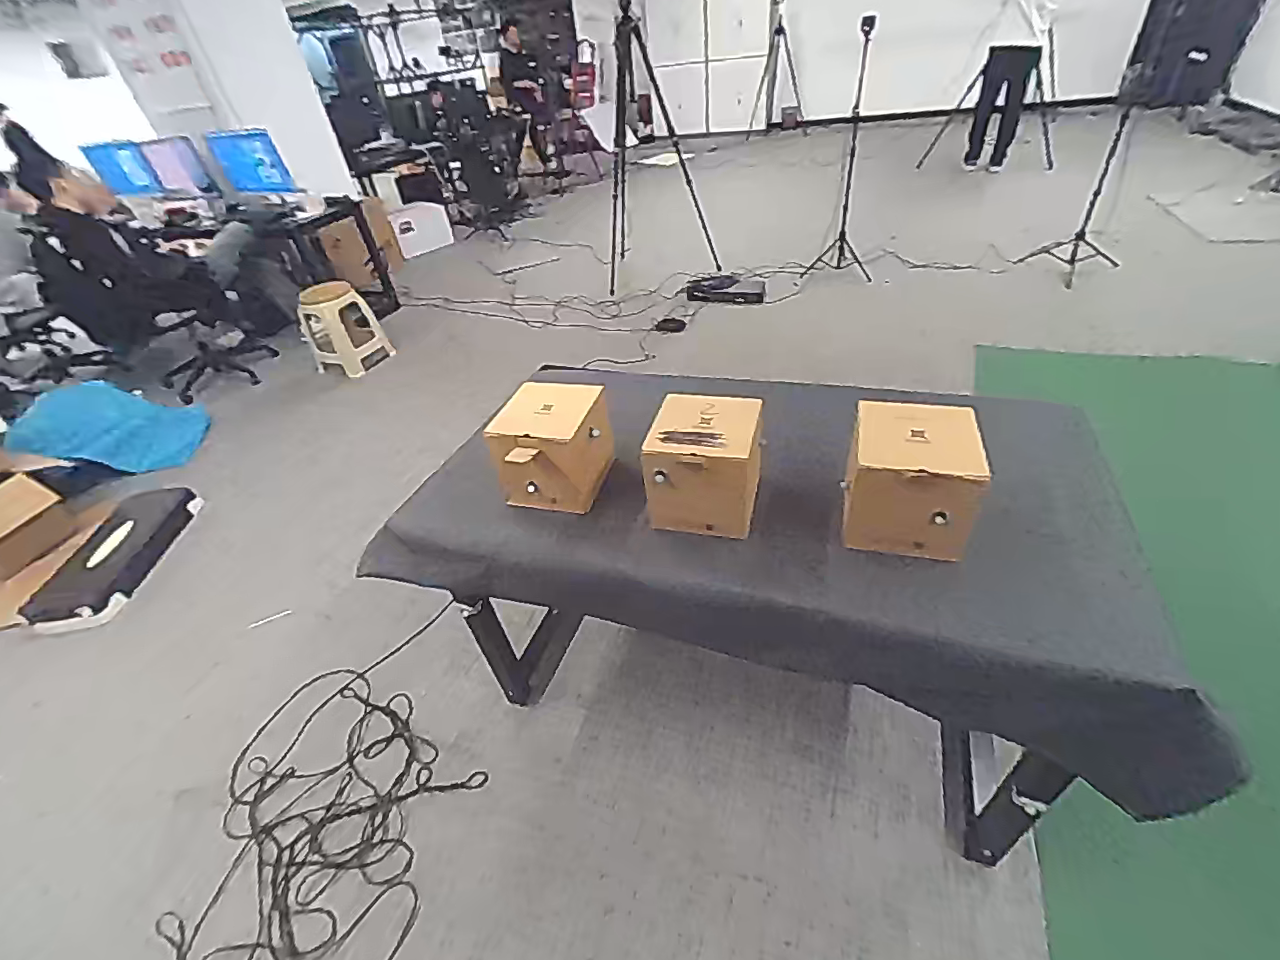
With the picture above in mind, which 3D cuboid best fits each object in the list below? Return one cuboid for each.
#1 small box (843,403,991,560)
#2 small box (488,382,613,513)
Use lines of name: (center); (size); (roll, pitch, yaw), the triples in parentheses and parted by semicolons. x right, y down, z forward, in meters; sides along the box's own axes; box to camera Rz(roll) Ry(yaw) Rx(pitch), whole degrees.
small box: (0.416, 0.001, 0.840); (0.168, 0.176, 0.179); (7, 40, 16)
small box: (-0.155, -0.064, 1.013); (0.168, 0.176, 0.179); (6, 41, 15)
